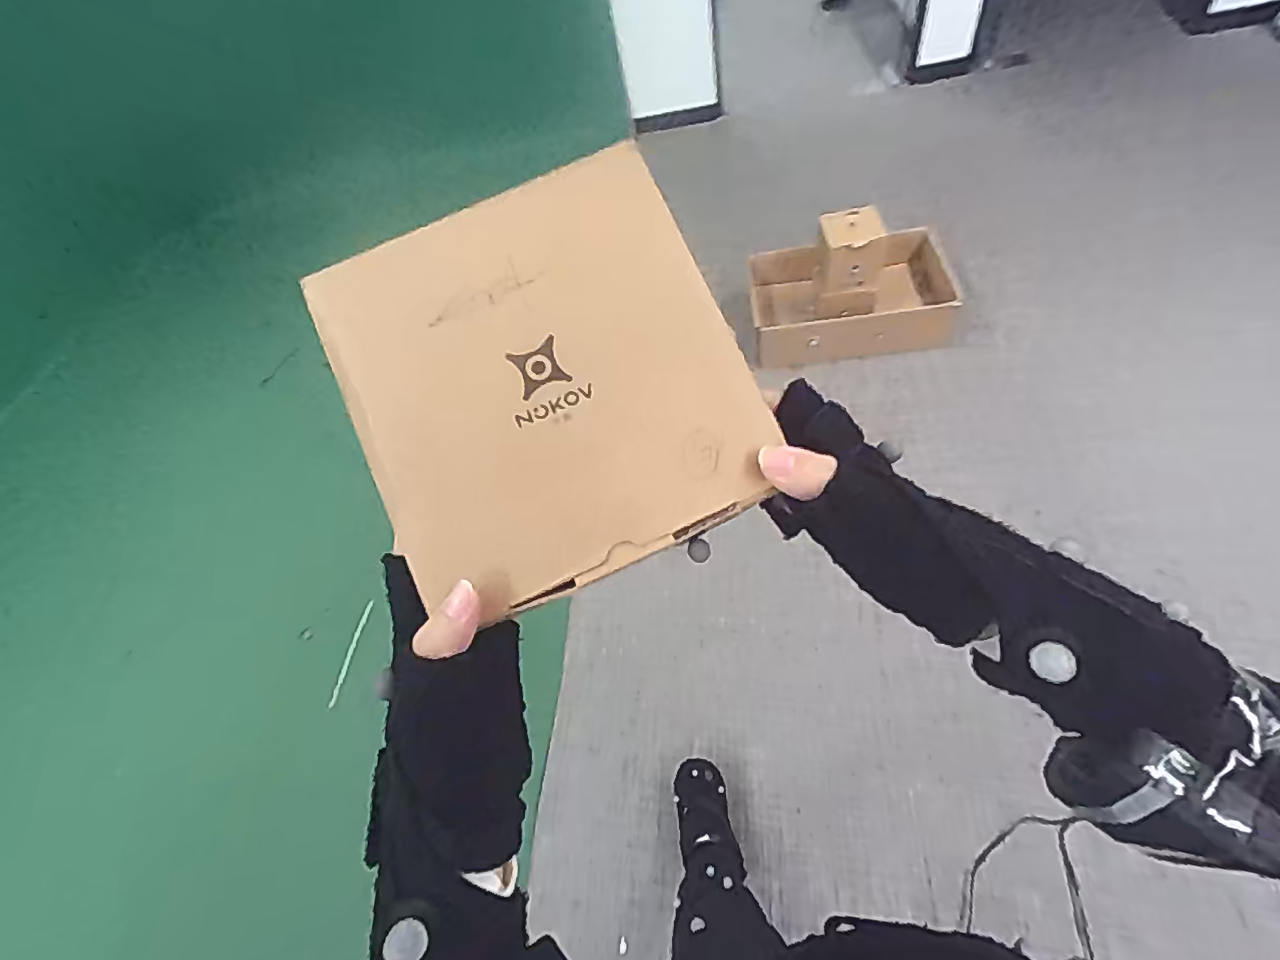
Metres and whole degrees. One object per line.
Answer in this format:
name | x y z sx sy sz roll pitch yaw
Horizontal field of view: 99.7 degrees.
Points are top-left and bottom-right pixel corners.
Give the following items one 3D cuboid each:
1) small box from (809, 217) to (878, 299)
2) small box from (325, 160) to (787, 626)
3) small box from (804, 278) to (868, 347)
small box | 0.635 -0.691 1.706 0.168 0.176 0.179 -6 55 8
small box | -0.039 -0.034 0.323 0.168 0.176 0.179 -24 80 -4
small box | 0.662 -0.575 1.840 0.179 0.176 0.168 -4 54 11
